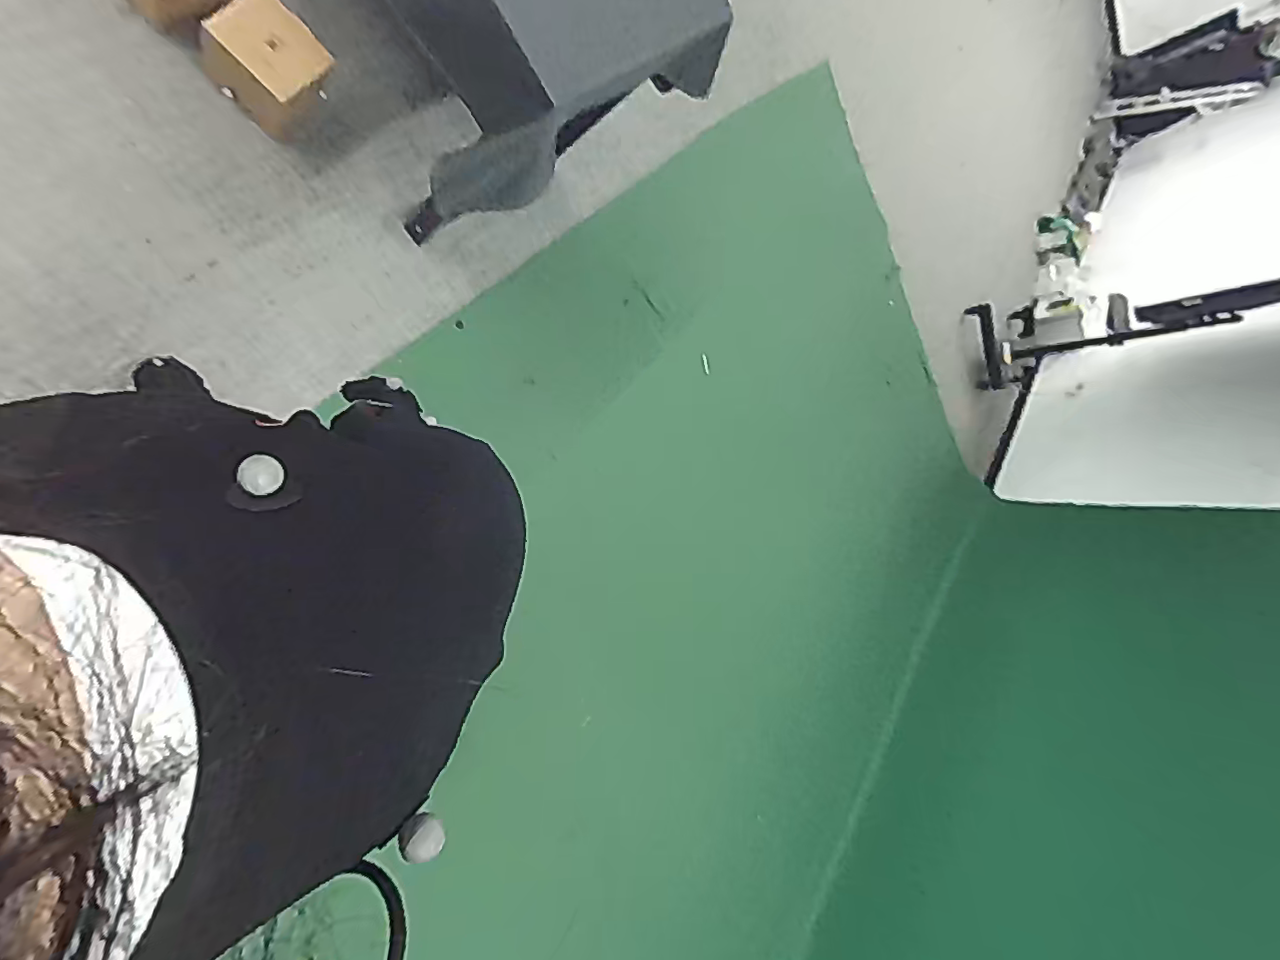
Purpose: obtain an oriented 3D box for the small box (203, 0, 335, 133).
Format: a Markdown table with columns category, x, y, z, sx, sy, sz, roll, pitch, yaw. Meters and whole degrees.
| category | x | y | z | sx | sy | sz | roll | pitch | yaw |
| --- | --- | --- | --- | --- | --- | --- | --- | --- | --- |
| small box | -0.811 | -0.910 | 1.177 | 0.168 | 0.176 | 0.179 | 44 | 64 | -31 |
